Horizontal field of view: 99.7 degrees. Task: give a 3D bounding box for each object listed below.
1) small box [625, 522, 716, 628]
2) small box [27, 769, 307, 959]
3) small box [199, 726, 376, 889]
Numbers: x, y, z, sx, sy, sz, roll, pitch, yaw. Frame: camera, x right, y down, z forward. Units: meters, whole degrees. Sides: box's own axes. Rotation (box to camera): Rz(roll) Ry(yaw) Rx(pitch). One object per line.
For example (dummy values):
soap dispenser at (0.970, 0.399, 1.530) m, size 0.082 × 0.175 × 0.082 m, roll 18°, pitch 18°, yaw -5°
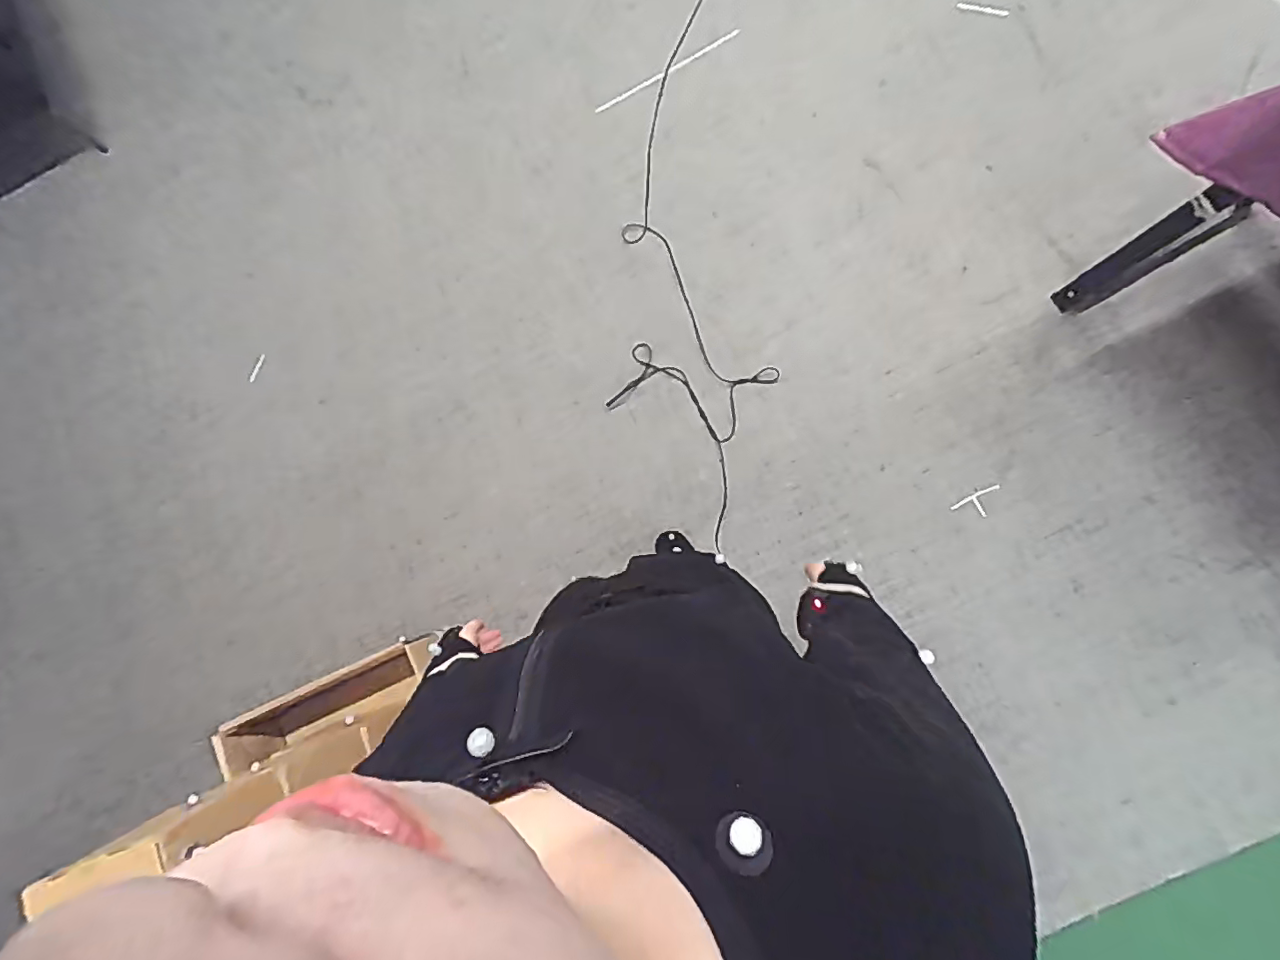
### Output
small box at (0.084, 0.245, 1.404) m, size 0.168 × 0.176 × 0.179 m, roll 23°, pitch 50°, yaw 34°
small box at (-0.539, 0.485, 0.640) m, size 0.168 × 0.176 × 0.179 m, roll -23°, pitch 82°, yaw 3°
small box at (-0.523, 0.495, 0.802) m, size 0.179 × 0.176 × 0.168 m, roll -22°, pitch 83°, yaw 4°
